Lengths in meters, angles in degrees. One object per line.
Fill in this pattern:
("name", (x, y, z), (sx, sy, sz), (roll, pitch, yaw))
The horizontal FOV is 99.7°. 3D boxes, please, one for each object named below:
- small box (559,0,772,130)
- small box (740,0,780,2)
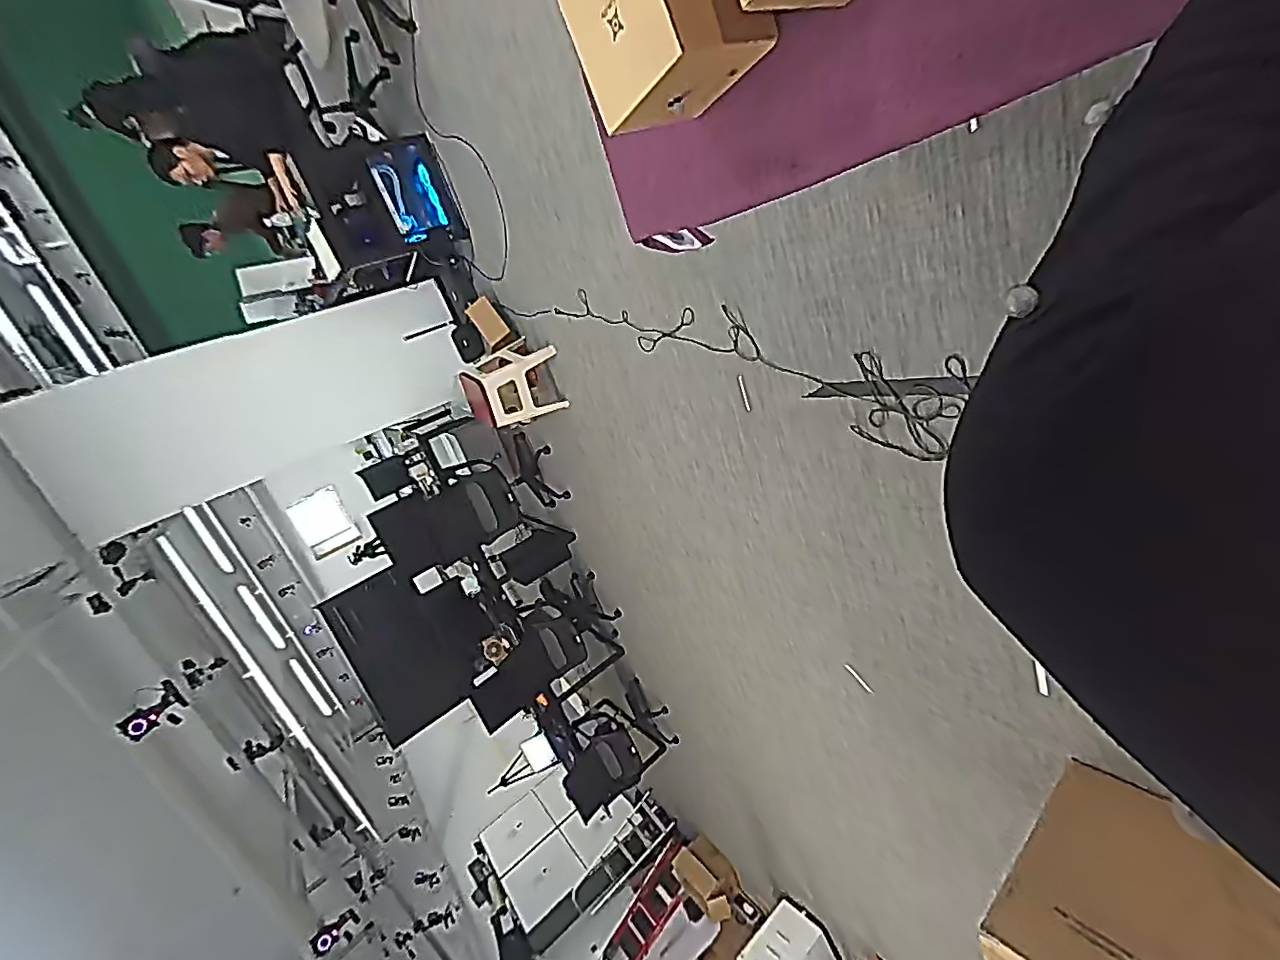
("small box", (0.031, -0.570, 0.656), (0.168, 0.176, 0.179), (0, 116, 59))
("small box", (0.172, -0.545, 0.443), (0.179, 0.176, 0.168), (5, 120, 57))
